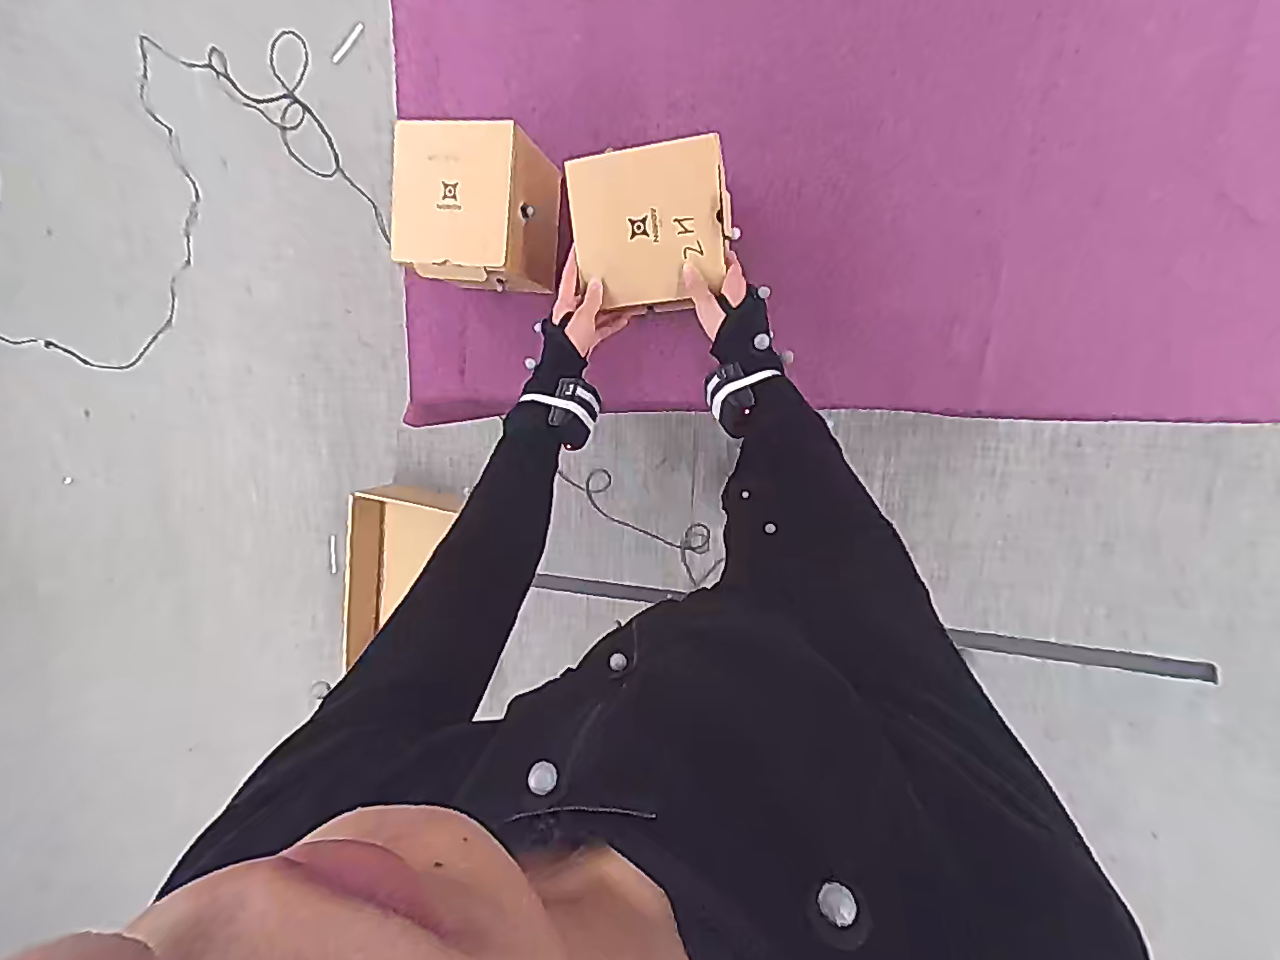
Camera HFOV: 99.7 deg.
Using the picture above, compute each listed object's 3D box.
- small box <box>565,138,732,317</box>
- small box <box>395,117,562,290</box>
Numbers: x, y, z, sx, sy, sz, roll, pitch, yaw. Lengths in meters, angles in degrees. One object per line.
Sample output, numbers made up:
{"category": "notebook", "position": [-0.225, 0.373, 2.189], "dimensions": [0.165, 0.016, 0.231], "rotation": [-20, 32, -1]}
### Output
{"category": "small box", "position": [0.022, -0.300, 0.683], "dimensions": [0.179, 0.176, 0.168], "rotation": [-3, 104, 12]}
{"category": "small box", "position": [-0.218, -0.374, 0.760], "dimensions": [0.168, 0.176, 0.179], "rotation": [8, 100, 11]}
